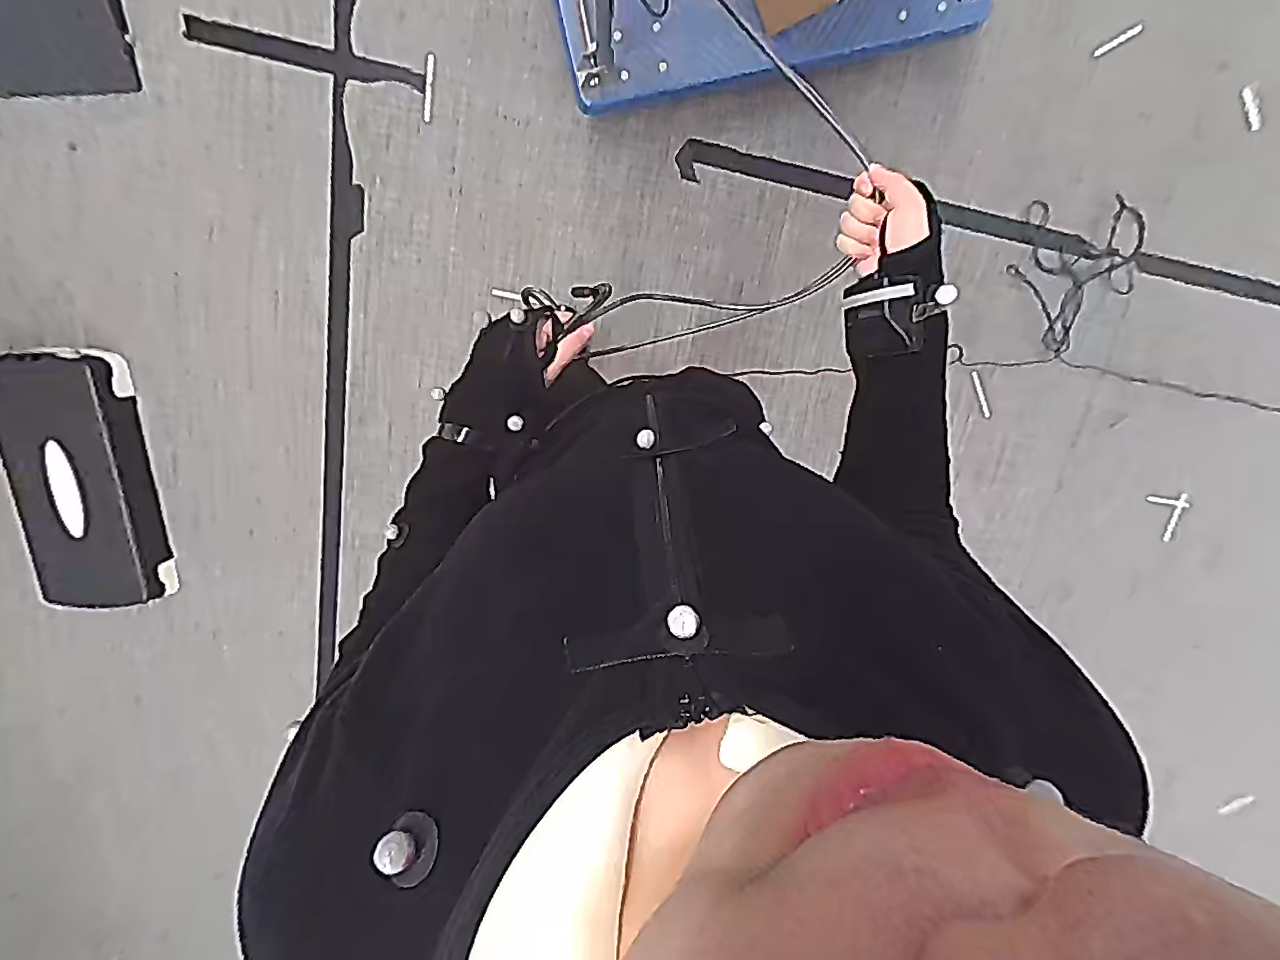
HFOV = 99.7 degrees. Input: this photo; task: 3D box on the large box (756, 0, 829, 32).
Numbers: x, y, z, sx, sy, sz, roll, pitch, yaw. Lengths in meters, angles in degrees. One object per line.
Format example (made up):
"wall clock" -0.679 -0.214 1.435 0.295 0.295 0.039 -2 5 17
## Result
"large box" 0.311 -1.092 0.883 0.320 0.320 0.408 -26 106 5
